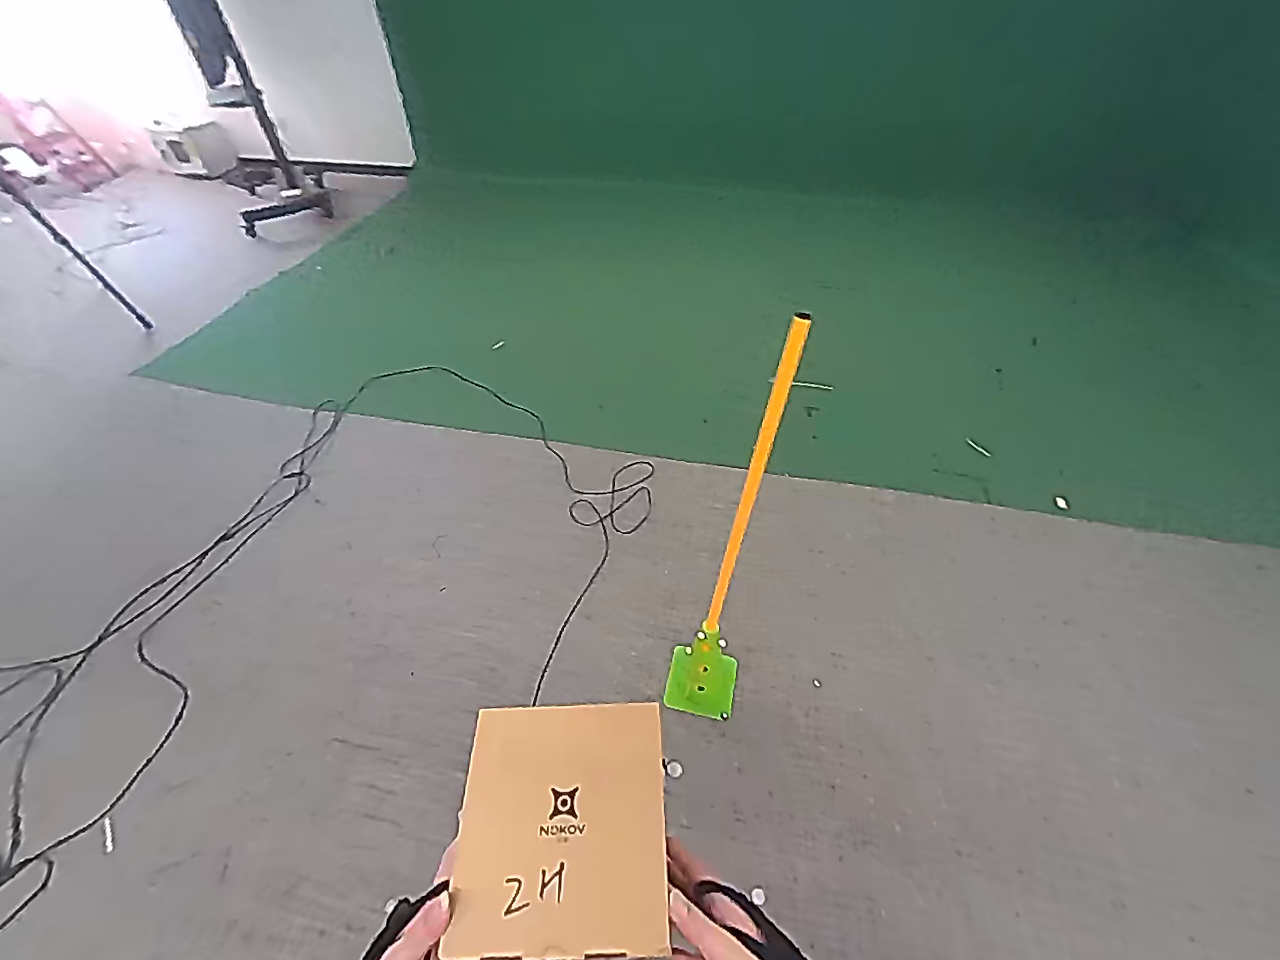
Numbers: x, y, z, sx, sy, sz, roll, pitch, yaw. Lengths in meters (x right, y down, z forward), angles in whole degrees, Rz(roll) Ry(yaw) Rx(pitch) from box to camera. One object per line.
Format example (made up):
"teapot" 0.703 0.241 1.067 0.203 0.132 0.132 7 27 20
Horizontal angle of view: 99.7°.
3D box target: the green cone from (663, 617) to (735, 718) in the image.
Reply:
"green cone" 0.180 0.493 1.532 0.202 0.368 0.200 9 47 11
